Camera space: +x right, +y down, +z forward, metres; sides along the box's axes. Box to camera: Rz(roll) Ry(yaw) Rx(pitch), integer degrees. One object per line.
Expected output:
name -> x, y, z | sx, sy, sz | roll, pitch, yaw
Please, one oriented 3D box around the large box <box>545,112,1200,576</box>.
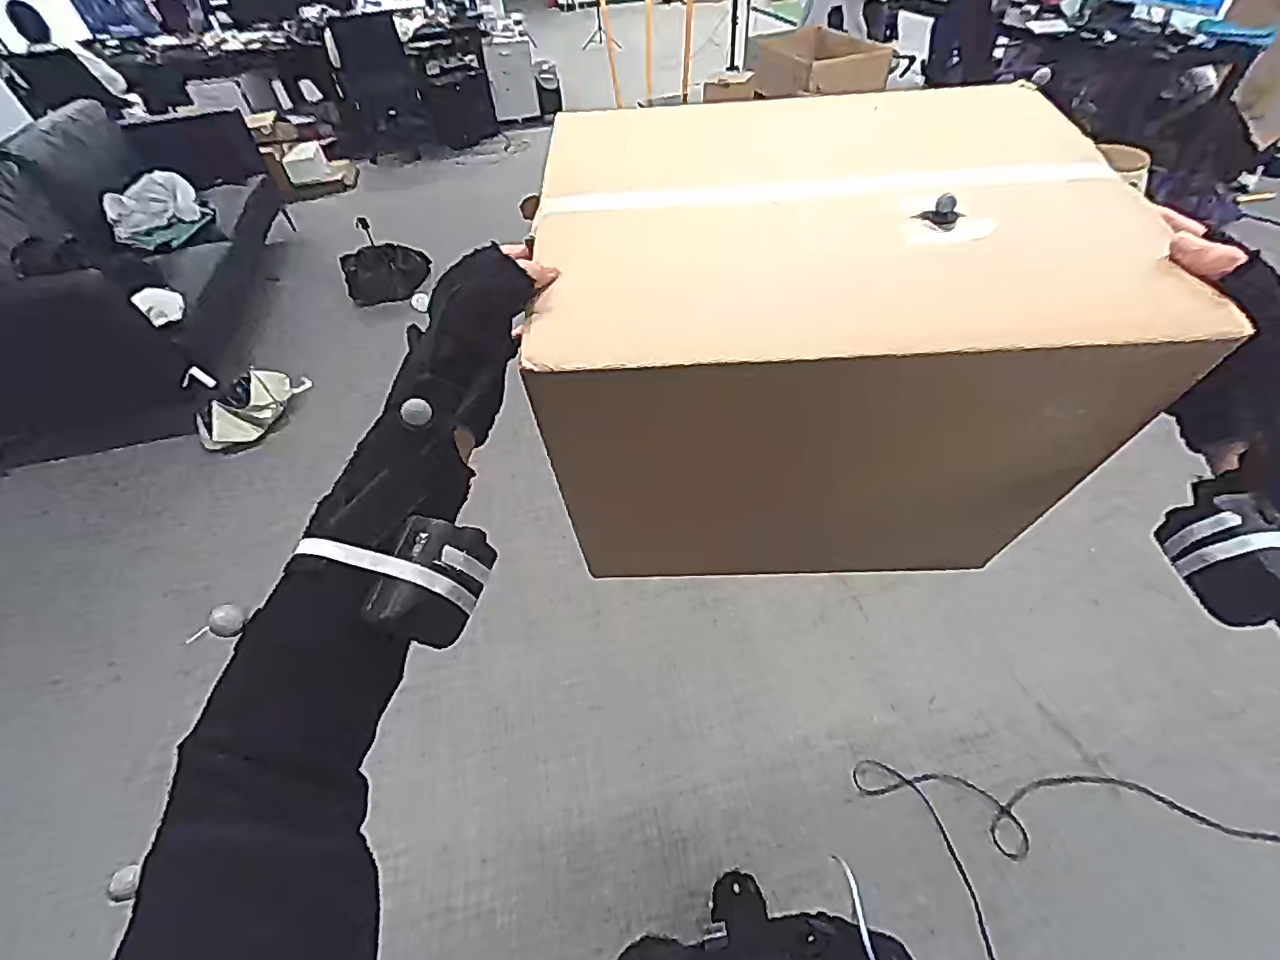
large box -> 0.139, -0.113, 0.530 | 0.408, 0.320, 0.320 | -2, 57, 2
